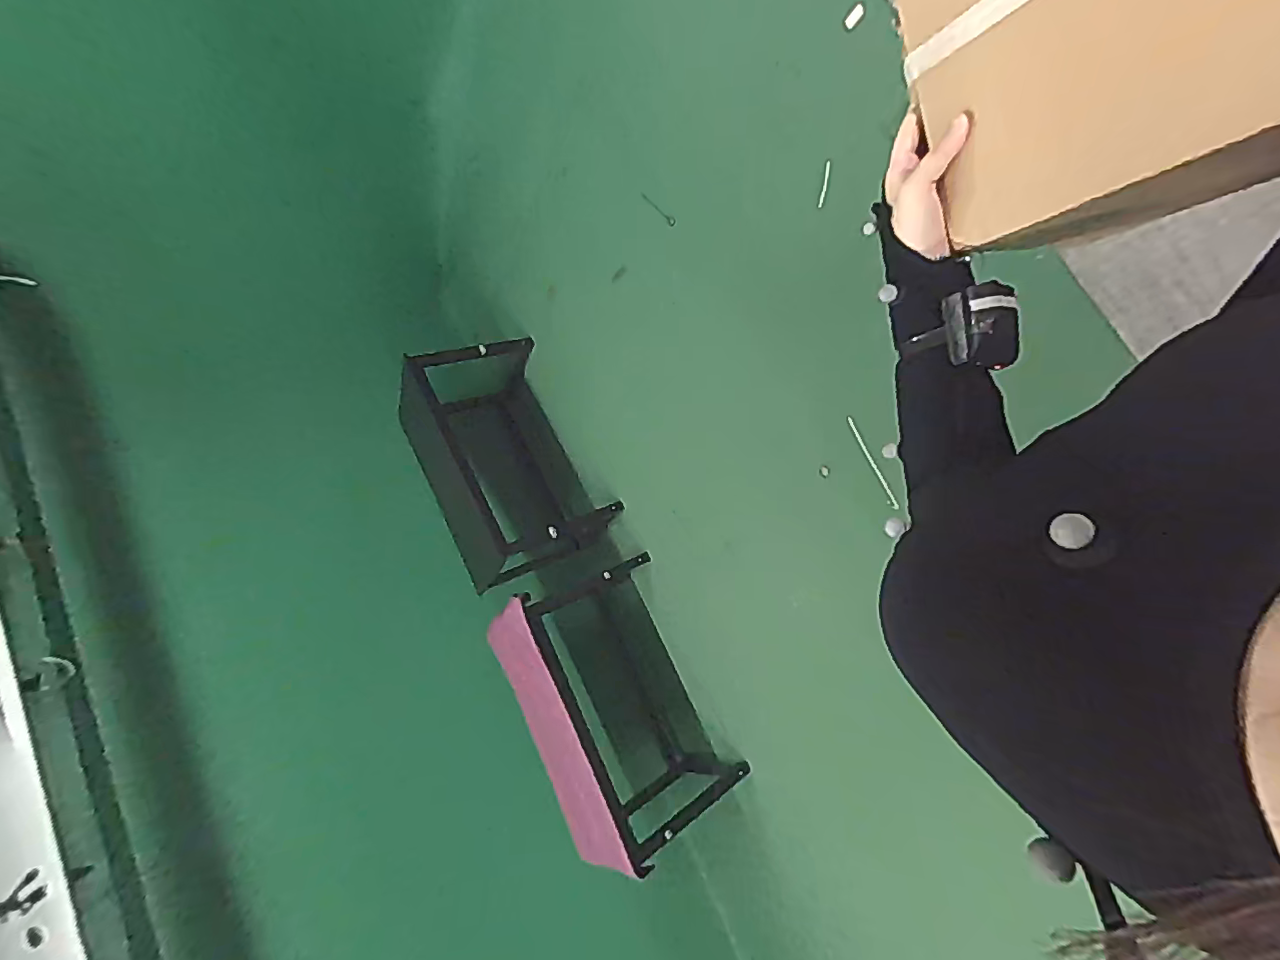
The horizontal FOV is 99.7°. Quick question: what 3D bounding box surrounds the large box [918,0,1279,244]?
[{"bbox_3d":[0.466,-0.404,0.371,0.408,0.320,0.320,-10,97,54],"label":"large box"}]
